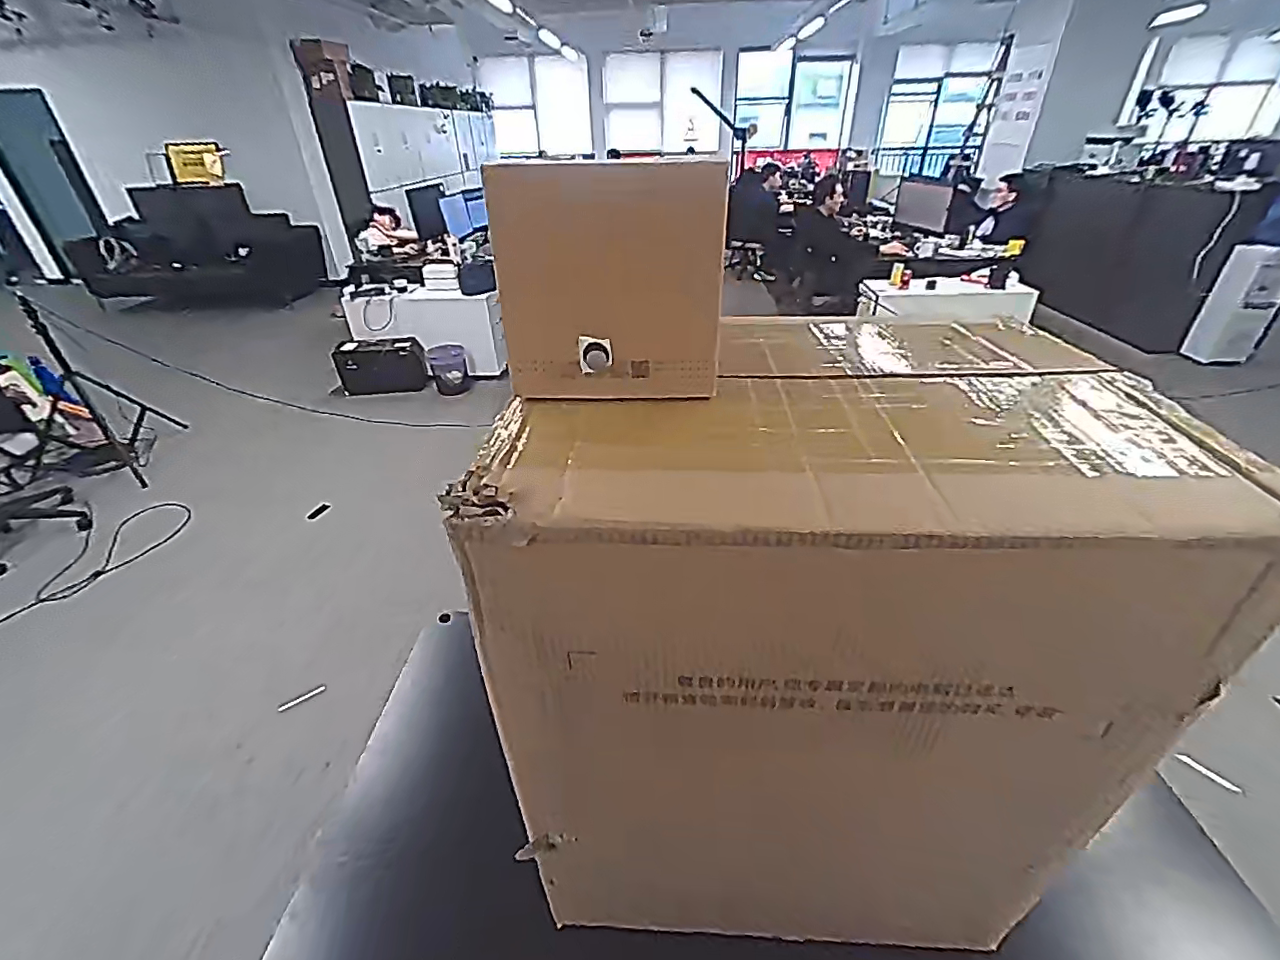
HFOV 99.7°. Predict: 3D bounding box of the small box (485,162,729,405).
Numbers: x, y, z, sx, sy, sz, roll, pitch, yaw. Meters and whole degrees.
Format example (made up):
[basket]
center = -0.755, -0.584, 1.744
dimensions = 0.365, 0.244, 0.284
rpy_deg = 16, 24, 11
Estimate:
[small box]
center = -0.021, -0.174, 0.468
dimensions = 0.168, 0.176, 0.179
rpy_deg = -2, 32, 0
